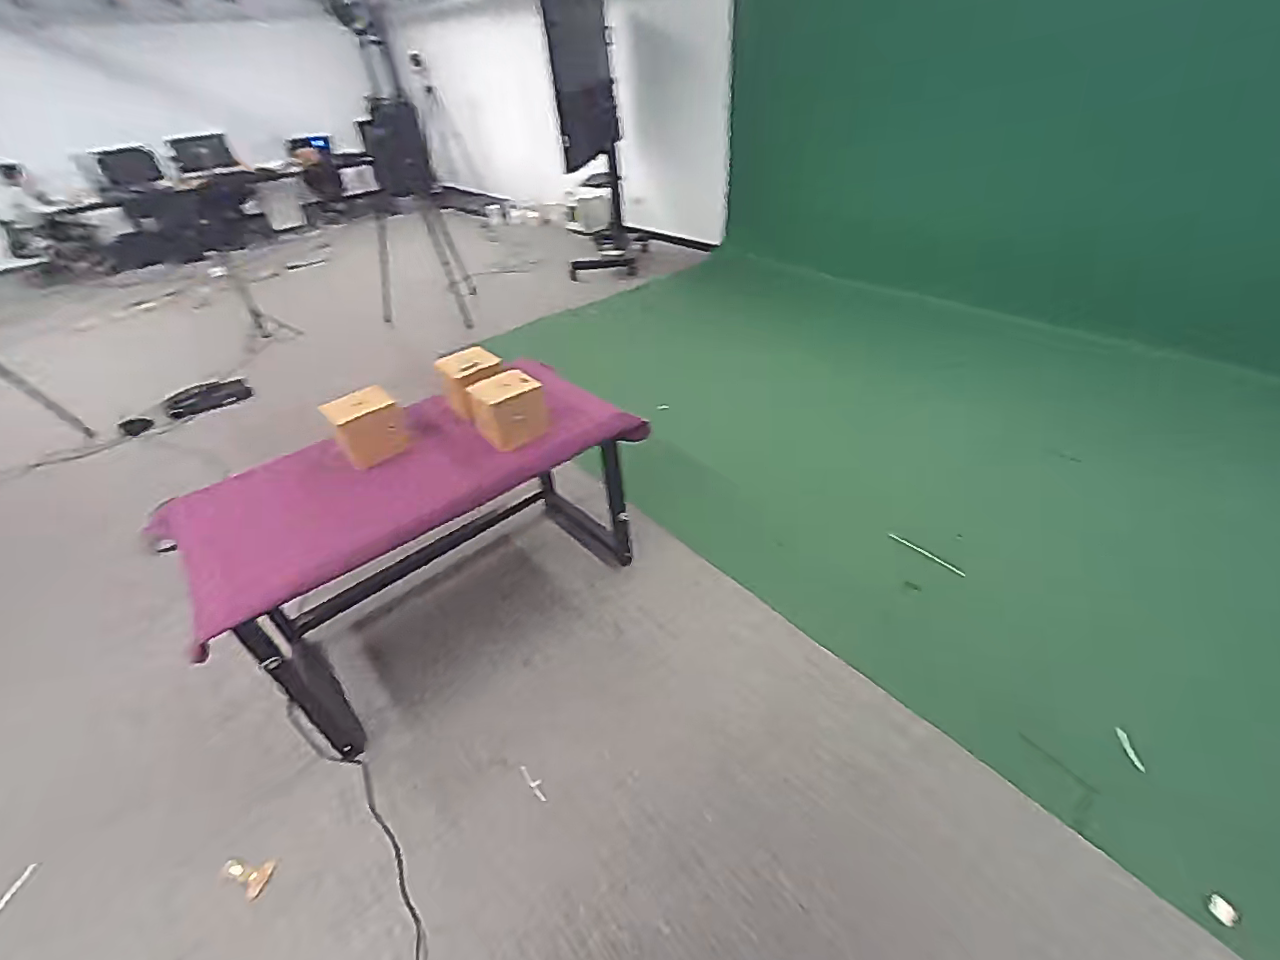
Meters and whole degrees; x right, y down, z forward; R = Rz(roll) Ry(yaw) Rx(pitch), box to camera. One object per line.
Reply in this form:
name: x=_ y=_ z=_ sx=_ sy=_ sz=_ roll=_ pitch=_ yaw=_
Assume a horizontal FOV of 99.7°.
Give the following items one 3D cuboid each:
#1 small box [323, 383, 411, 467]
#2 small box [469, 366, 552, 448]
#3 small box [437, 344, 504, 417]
small box: x=-0.826 y=-0.169 z=1.658 sx=0.179 sy=0.176 sz=0.168 roll=-32 pitch=45 yaw=-29
small box: x=-0.395 y=-0.223 z=1.668 sx=0.179 sy=0.176 sz=0.168 roll=-30 pitch=44 yaw=-26
small box: x=-0.555 y=-0.333 z=1.828 sx=0.168 sy=0.176 sz=0.179 roll=-30 pitch=44 yaw=-28
